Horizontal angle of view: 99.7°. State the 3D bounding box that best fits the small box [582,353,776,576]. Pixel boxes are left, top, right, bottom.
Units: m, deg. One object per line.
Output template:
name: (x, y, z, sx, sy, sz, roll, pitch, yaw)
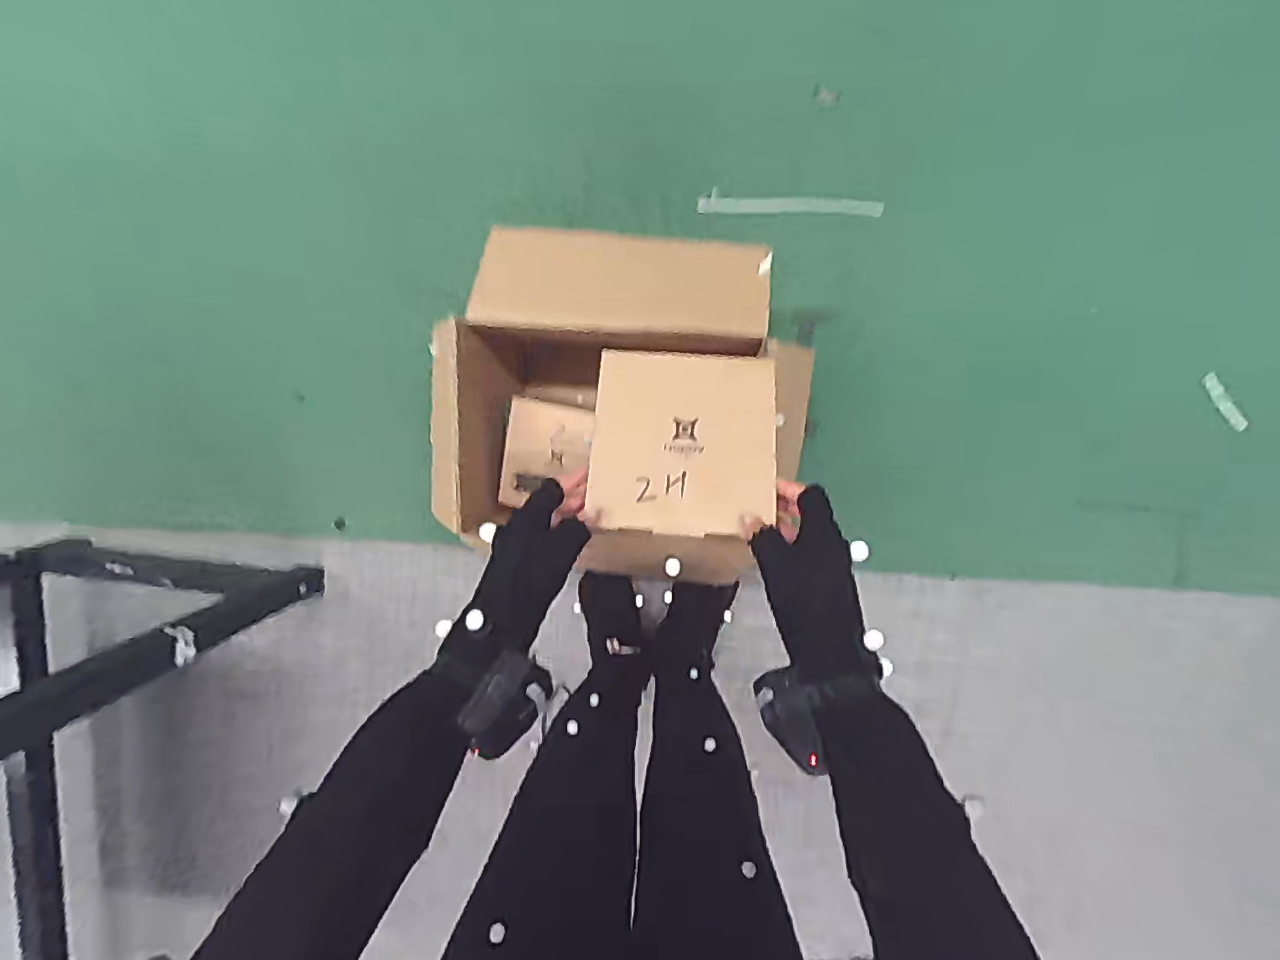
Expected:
small box: (0.039, -0.006, 0.553, 0.168, 0.176, 0.179, 4, 72, 3)
